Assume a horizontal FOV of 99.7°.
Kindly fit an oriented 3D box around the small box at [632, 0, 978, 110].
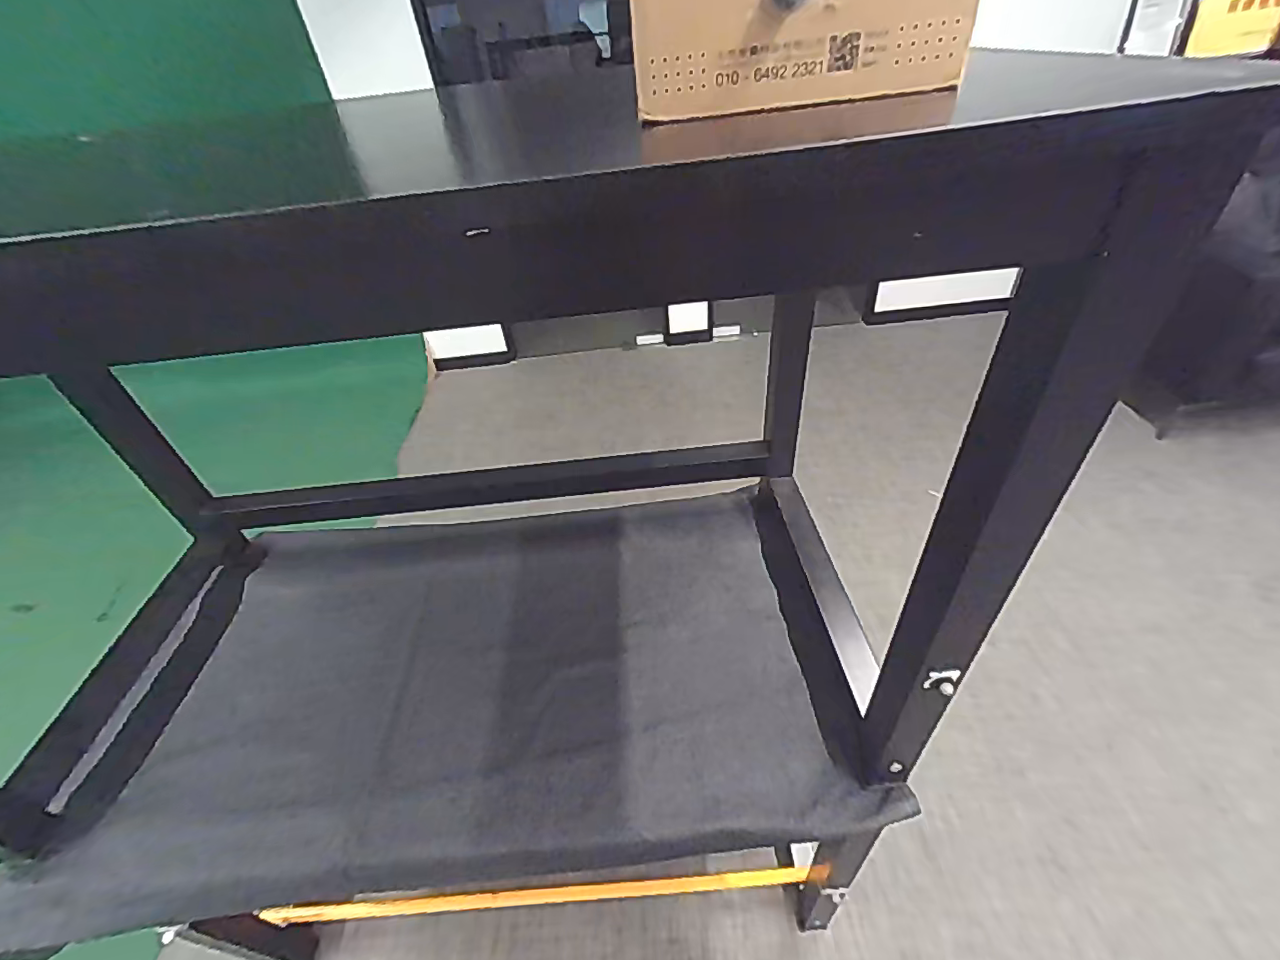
[{"bbox_3d":[0.079,-0.313,0.292,0.168,0.176,0.179,-3,41,6],"label":"small box"}]
